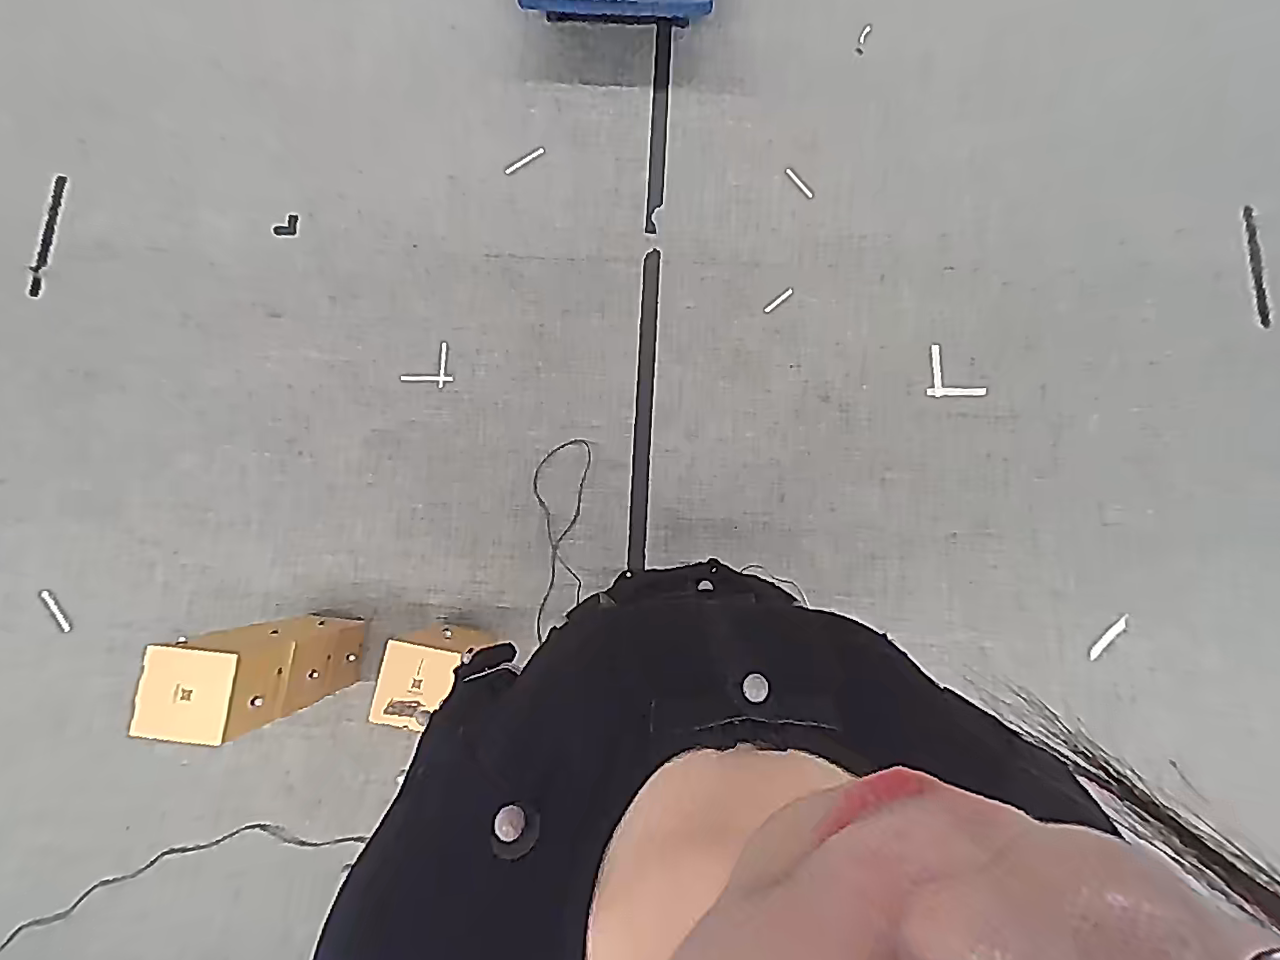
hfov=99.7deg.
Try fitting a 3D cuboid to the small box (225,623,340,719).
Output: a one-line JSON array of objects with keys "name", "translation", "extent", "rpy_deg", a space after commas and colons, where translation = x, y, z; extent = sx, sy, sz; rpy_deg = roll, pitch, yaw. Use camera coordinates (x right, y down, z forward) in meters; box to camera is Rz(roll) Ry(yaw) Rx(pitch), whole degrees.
[{"name": "small box", "translation": [-0.830, 0.432, 1.247], "extent": [0.179, 0.176, 0.168], "rpy_deg": [7, 82, 2]}]

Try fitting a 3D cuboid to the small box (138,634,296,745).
[{"name": "small box", "translation": [-0.834, 0.411, 1.085], "extent": [0.179, 0.176, 0.168], "rpy_deg": [5, 83, 2]}]

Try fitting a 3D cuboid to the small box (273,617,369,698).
[{"name": "small box", "translation": [-0.839, 0.455, 1.411], "extent": [0.179, 0.176, 0.168], "rpy_deg": [6, 82, 1]}]

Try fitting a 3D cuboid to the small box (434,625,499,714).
[{"name": "small box", "translation": [-0.478, 0.484, 1.406], "extent": [0.168, 0.176, 0.179], "rpy_deg": [9, 83, 2]}]

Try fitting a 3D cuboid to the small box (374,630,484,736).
[{"name": "small box", "translation": [-0.475, 0.458, 1.244], "extent": [0.168, 0.176, 0.179], "rpy_deg": [11, 82, 2]}]
